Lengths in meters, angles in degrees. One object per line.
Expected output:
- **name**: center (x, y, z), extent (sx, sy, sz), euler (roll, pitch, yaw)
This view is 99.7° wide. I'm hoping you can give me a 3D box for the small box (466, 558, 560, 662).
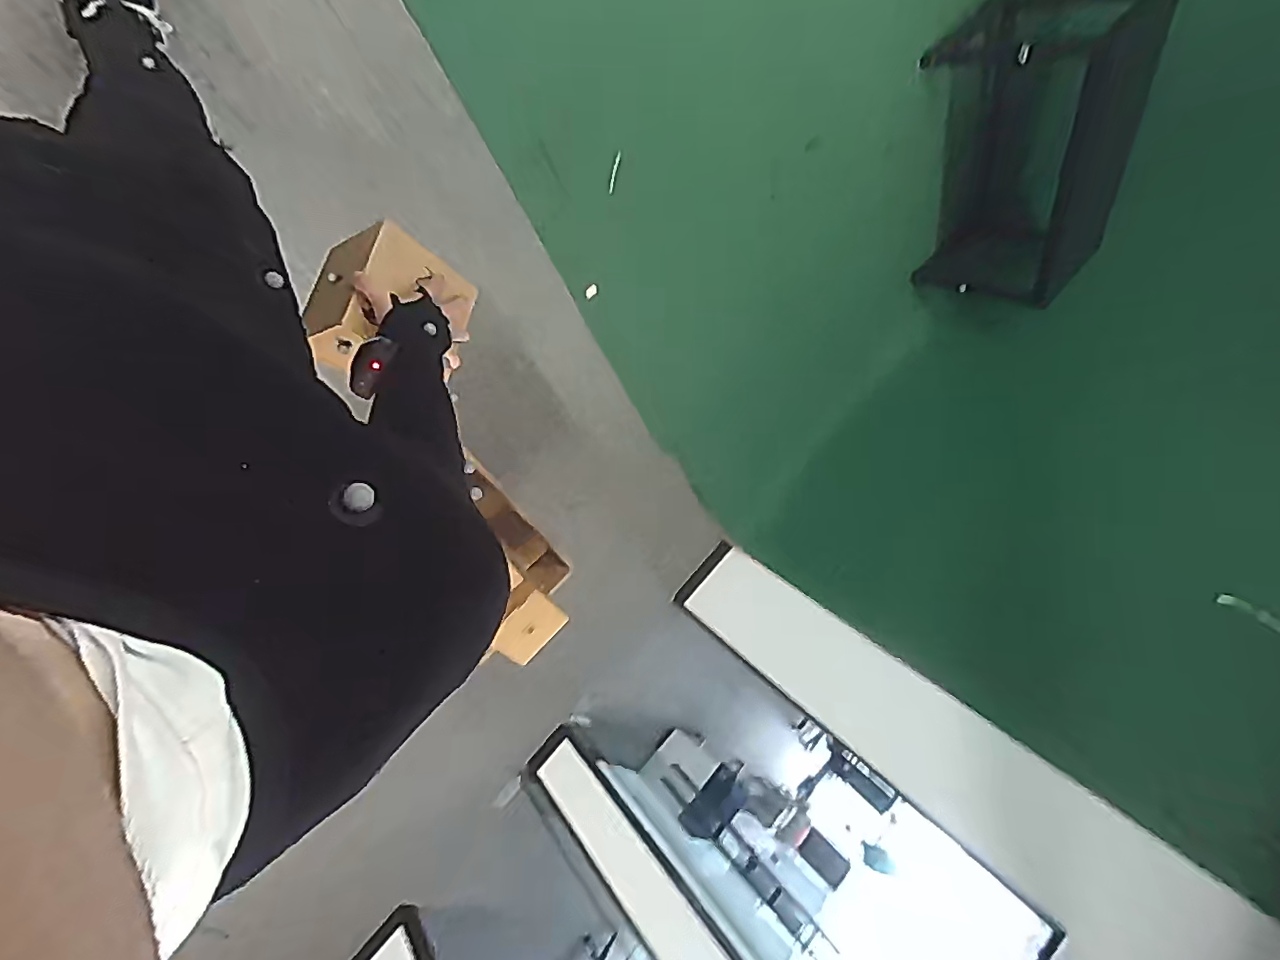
- **small box**: center (-0.344, 0.331, 1.401), extent (0.168, 0.176, 0.179), euler (-45, 137, -12)
